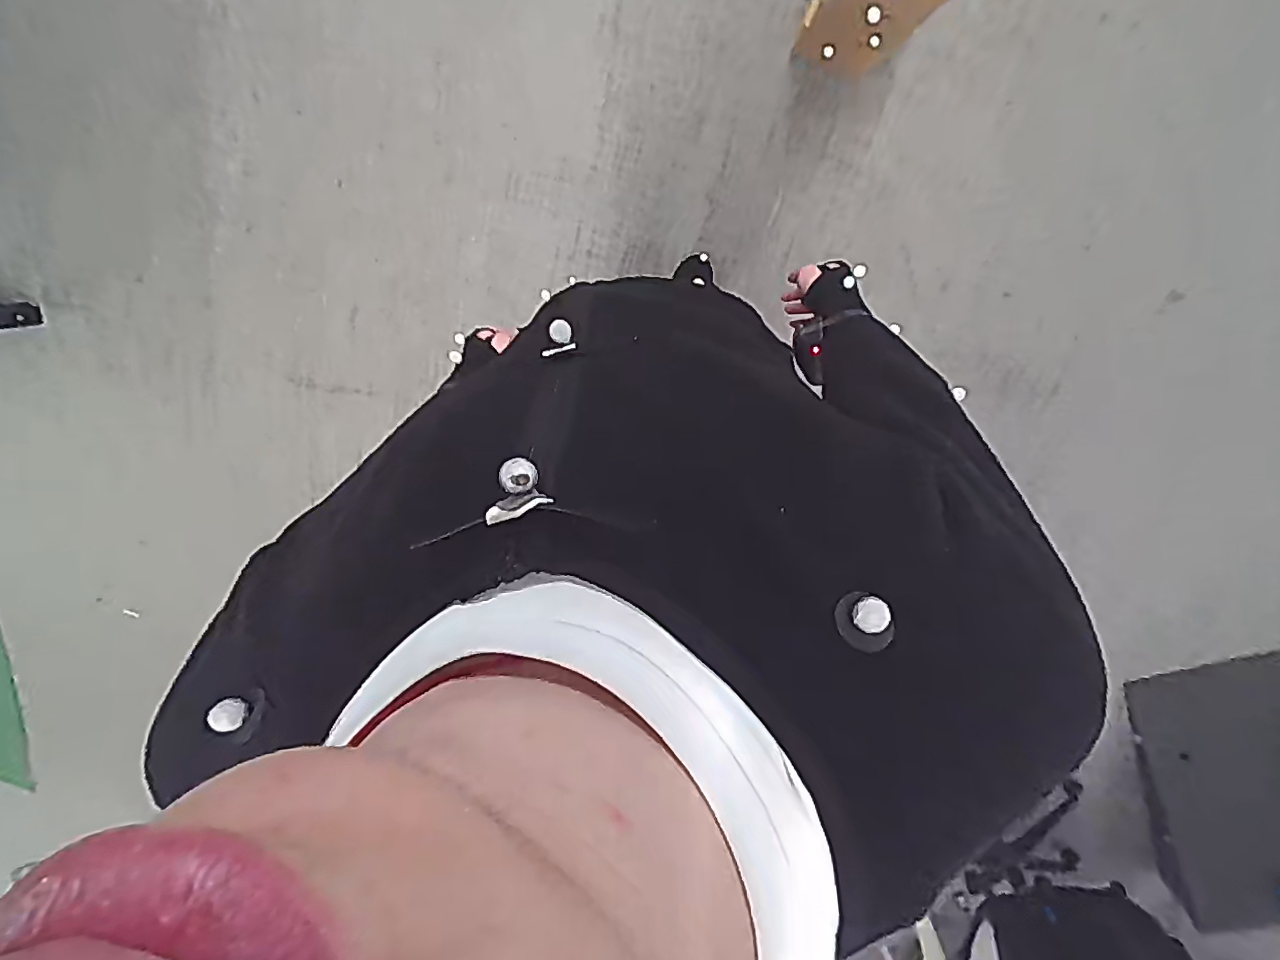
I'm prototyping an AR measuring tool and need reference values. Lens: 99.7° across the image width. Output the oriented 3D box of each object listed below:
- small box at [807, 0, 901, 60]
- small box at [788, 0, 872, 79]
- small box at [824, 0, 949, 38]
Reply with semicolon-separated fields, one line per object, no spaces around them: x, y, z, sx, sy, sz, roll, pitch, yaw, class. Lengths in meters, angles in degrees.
0.413;-0.888;0.957;0.168;0.176;0.179;15;113;-3;small box
0.424;-0.966;1.120;0.179;0.176;0.168;15;113;-2;small box
0.394;-0.814;0.808;0.168;0.176;0.179;15;114;-1;small box
